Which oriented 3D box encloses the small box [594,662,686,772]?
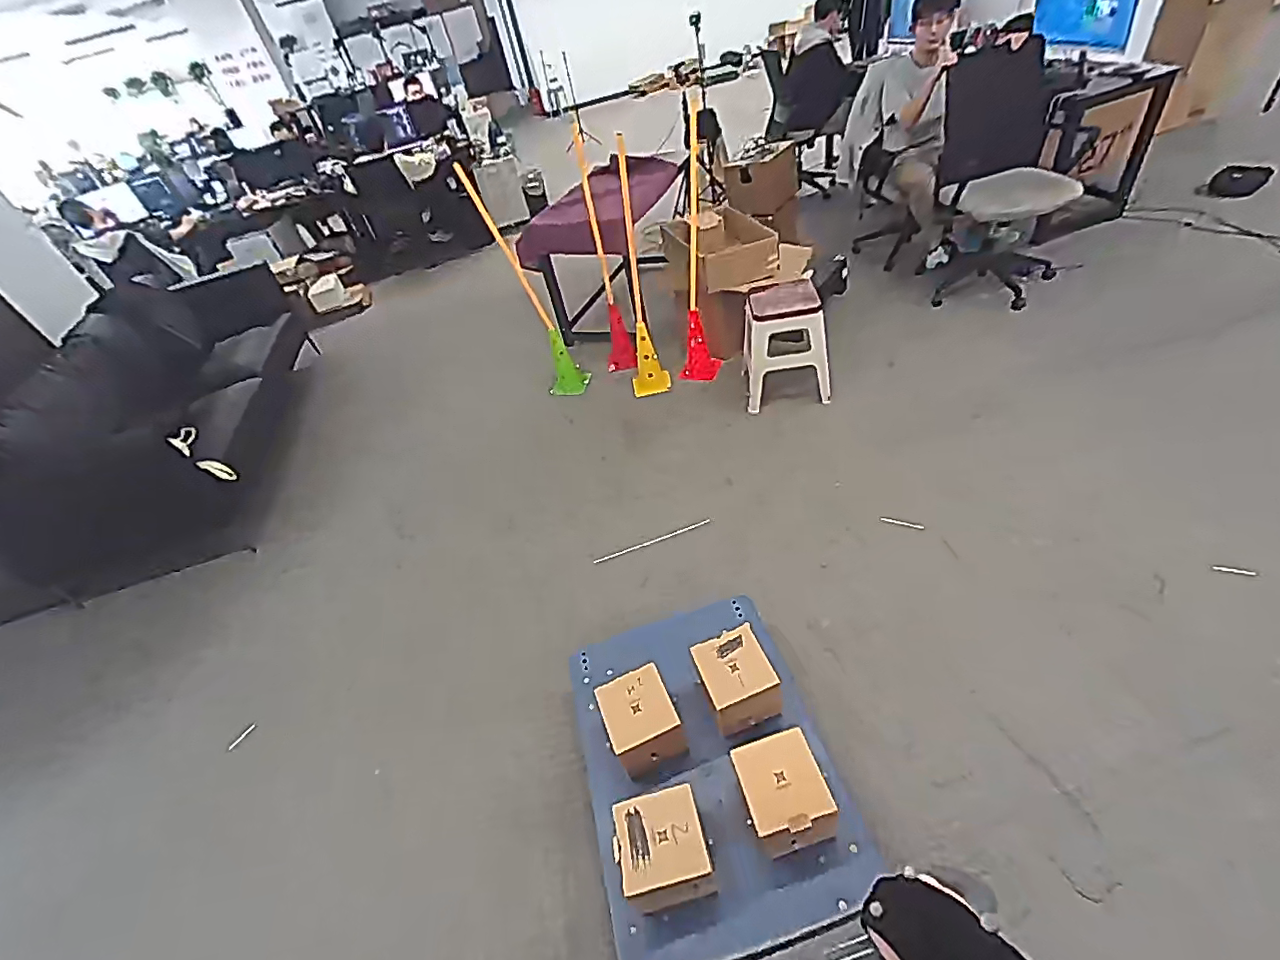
[{"bbox_3d":[0.004,0.598,1.349,0.168,0.176,0.179,-22,42,-8],"label":"small box"}]

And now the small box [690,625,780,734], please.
[{"bbox_3d":[0.242,0.509,1.376,0.168,0.176,0.179,-21,43,-6],"label":"small box"}]

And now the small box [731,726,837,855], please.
[{"bbox_3d":[0.307,0.678,1.178,0.168,0.176,0.179,-18,43,-3],"label":"small box"}]
